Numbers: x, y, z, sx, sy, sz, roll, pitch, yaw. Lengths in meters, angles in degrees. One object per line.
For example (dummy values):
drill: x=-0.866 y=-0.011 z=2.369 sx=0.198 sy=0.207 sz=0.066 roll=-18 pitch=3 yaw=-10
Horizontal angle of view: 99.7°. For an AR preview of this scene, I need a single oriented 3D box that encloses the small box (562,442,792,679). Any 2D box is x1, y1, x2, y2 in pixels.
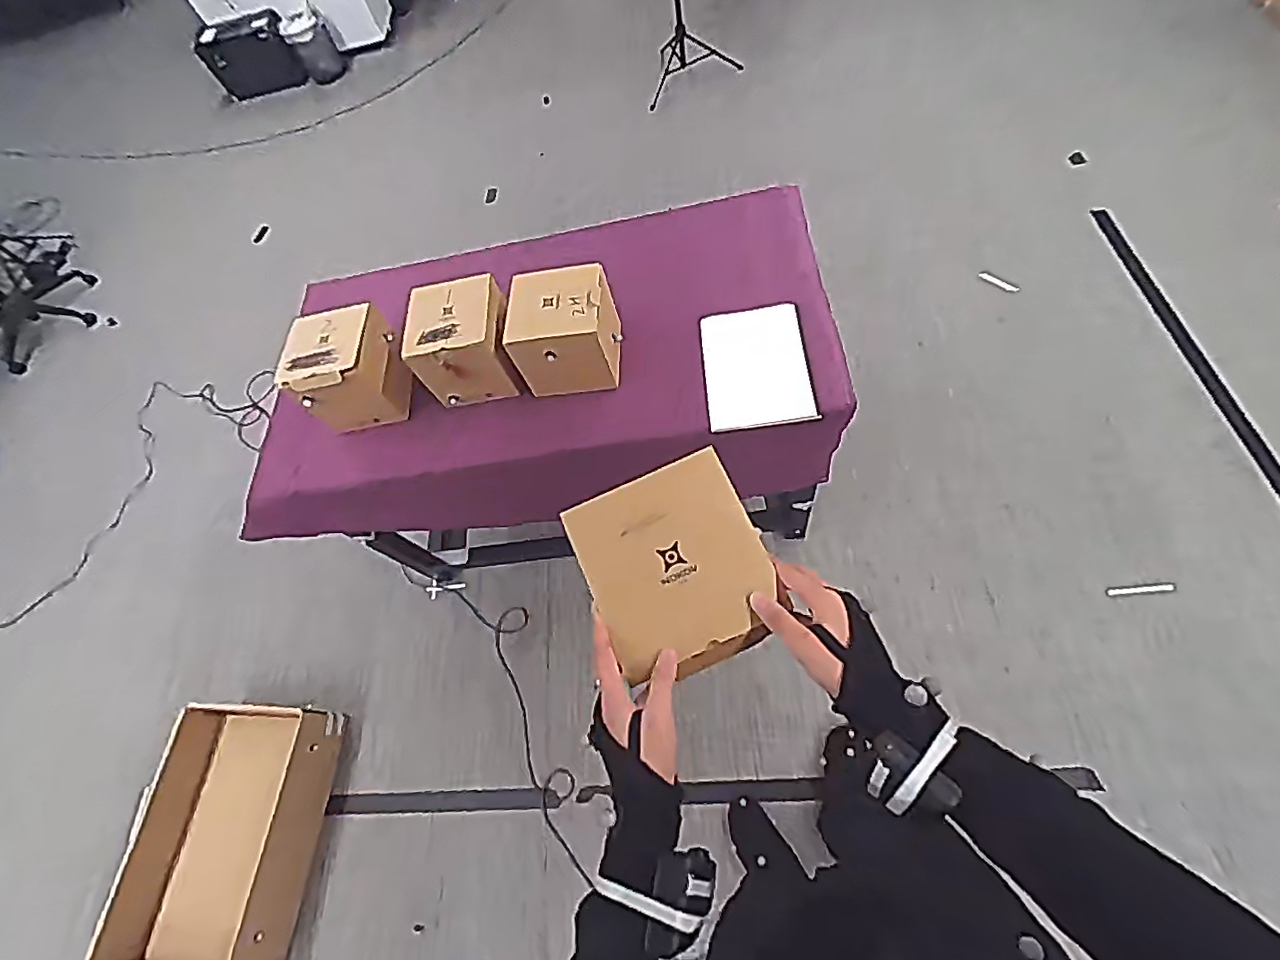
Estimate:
small box: x=0.037 y=0.089 z=0.578 sx=0.168 sy=0.176 sz=0.179 roll=-24 pitch=74 yaw=-3
